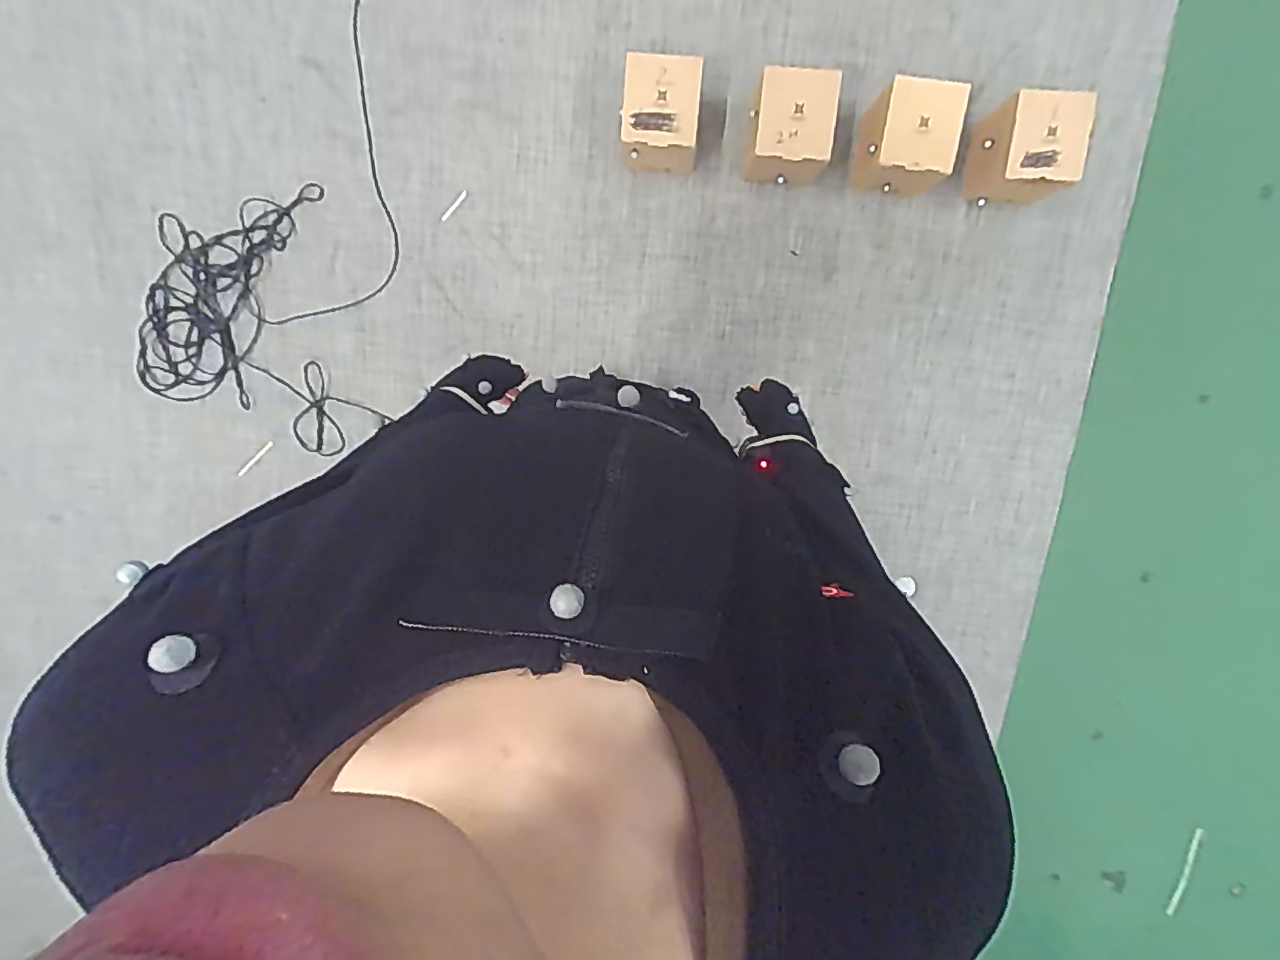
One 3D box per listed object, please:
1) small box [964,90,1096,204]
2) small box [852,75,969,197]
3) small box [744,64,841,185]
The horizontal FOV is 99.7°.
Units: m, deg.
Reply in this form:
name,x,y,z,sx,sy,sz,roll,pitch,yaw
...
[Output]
name,x,y,z,sx,sy,sz,roll,pitch,yaw
small box,0.872,-0.745,1.228,0.168,0.176,0.179,4,101,1
small box,0.604,-0.773,1.230,0.168,0.176,0.179,7,102,0
small box,0.337,-0.799,1.230,0.168,0.176,0.179,6,102,2
